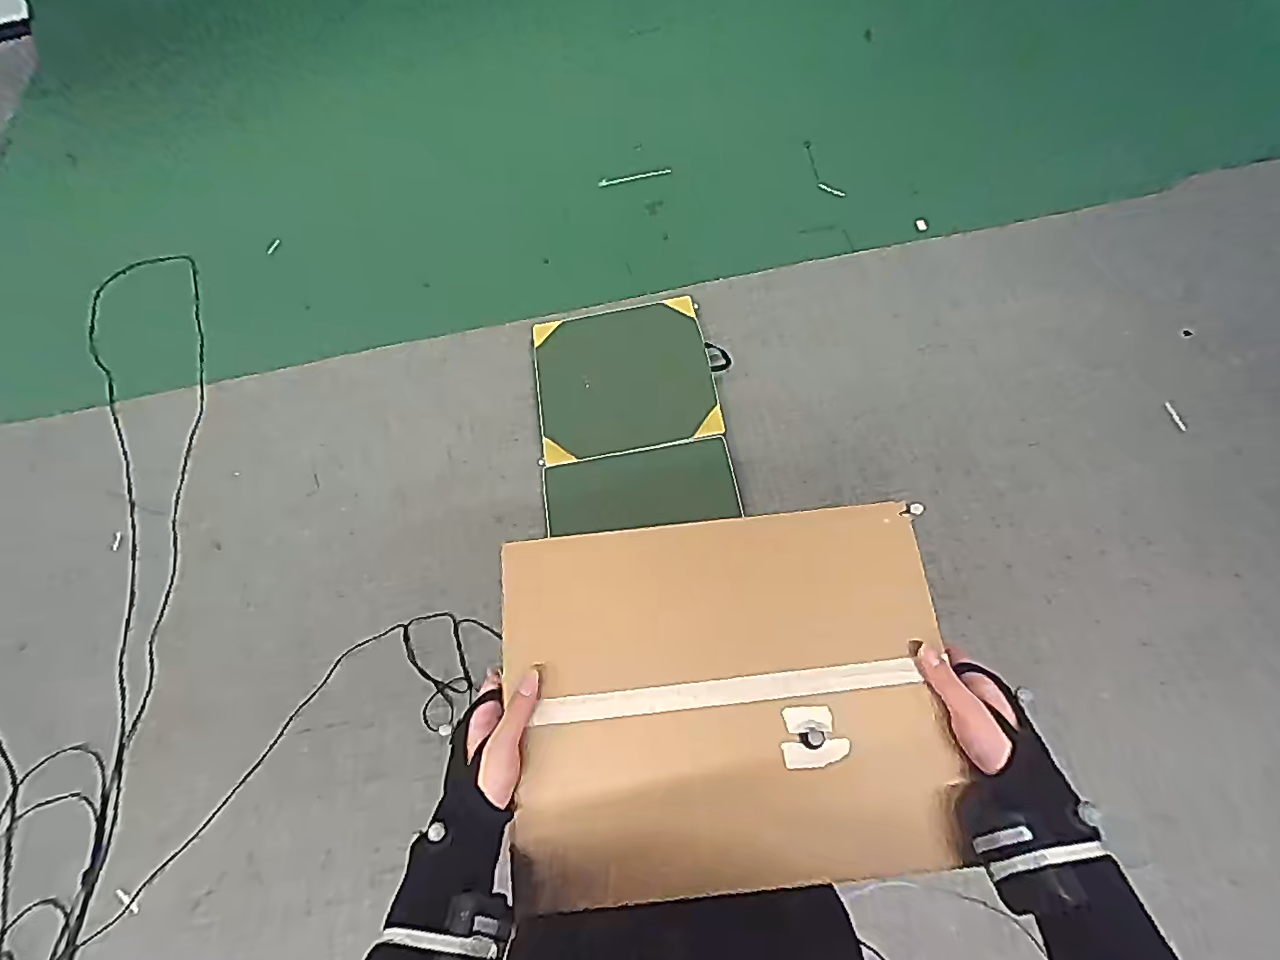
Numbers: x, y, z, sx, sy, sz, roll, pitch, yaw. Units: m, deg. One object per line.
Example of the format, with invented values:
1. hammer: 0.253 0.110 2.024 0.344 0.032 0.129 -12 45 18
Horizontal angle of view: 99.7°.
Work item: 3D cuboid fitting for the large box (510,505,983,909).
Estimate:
1. large box: 0.083 0.240 0.645 0.408 0.320 0.320 -6 72 -1
